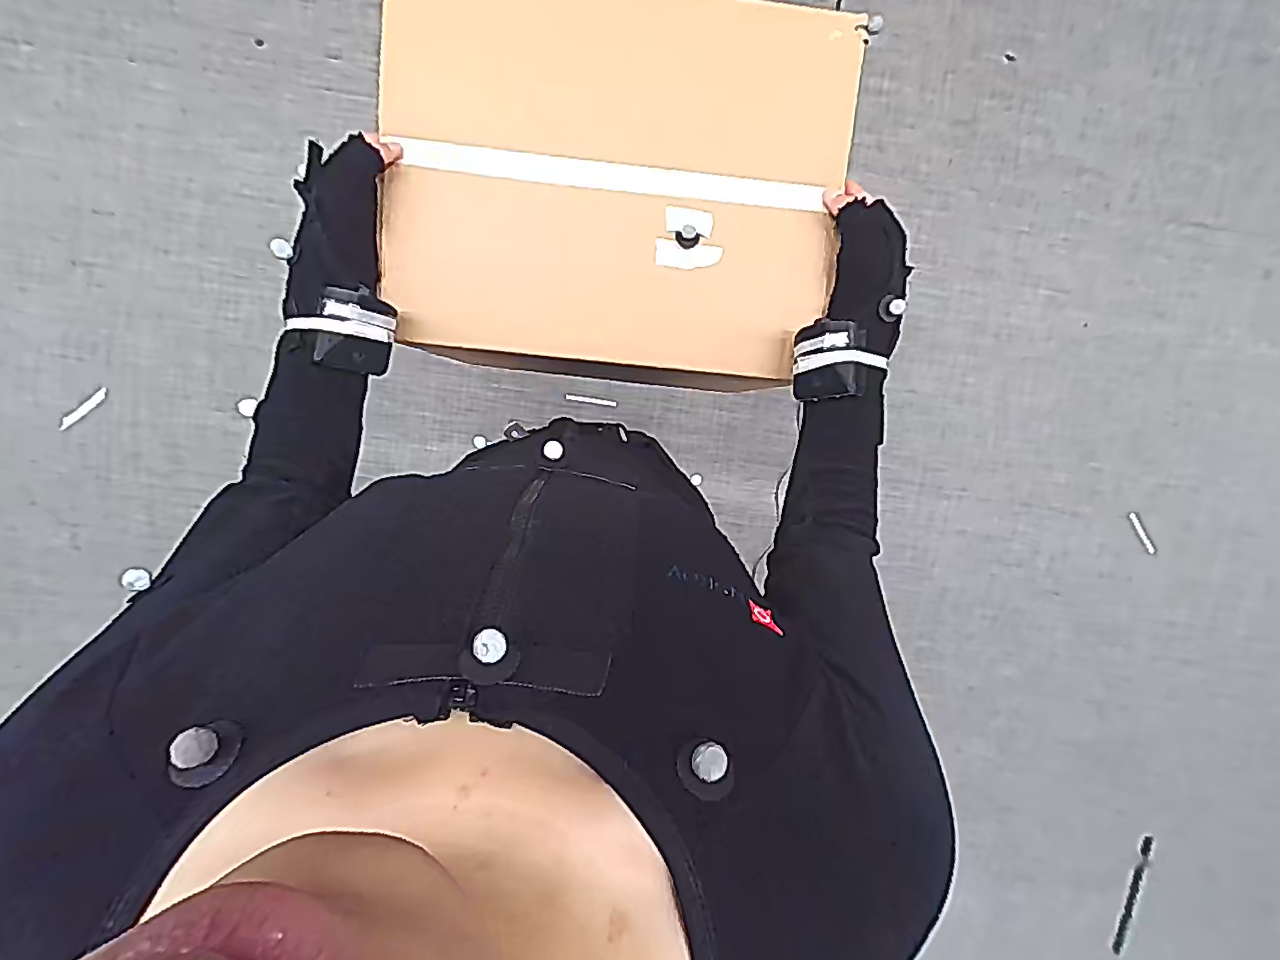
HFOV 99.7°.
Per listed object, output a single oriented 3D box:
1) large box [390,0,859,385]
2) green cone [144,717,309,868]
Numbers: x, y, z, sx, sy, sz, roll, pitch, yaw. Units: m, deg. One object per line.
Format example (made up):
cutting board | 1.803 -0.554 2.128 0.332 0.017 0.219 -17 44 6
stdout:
large box | -0.026 -0.286 0.625 0.408 0.320 0.320 5 98 -4
green cone | -1.060 0.805 1.355 0.202 0.368 0.200 -30 96 3
